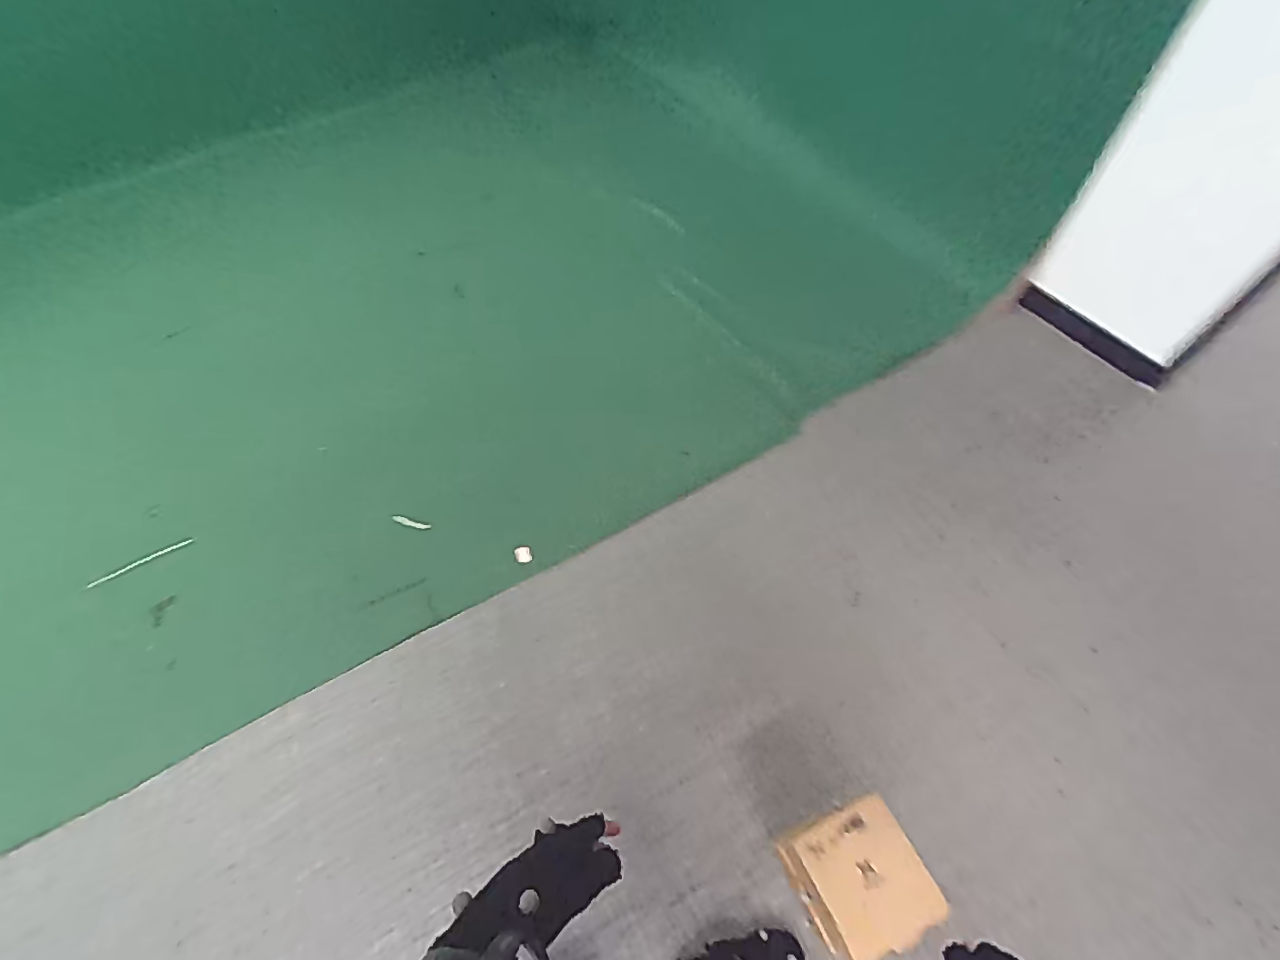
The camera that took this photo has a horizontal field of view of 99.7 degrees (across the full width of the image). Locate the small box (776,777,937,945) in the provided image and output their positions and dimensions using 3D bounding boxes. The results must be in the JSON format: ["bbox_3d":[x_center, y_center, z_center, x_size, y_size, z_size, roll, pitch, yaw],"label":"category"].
[{"bbox_3d":[0.352,0.629,0.917,0.168,0.176,0.179,-23,61,-8],"label":"small box"}]
